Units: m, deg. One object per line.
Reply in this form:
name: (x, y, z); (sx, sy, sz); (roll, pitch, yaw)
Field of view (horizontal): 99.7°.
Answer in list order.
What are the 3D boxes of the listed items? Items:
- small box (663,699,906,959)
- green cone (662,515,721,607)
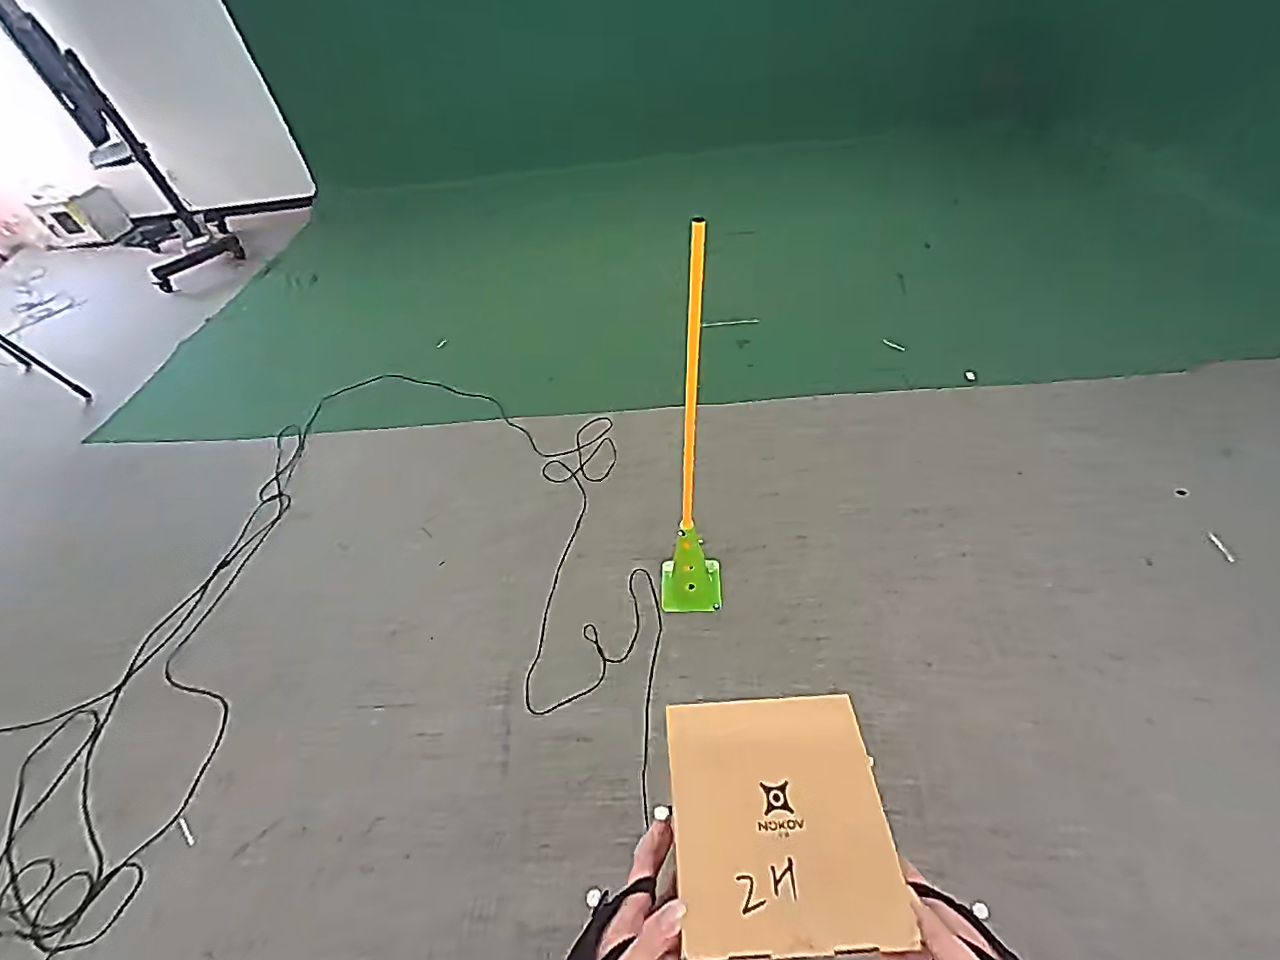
small box: (0.106, 0.319, 0.493); (0.168, 0.176, 0.179); (-3, 49, 1)
green cone: (0.156, 0.233, 1.737); (0.202, 0.368, 0.200); (-2, 48, 7)
